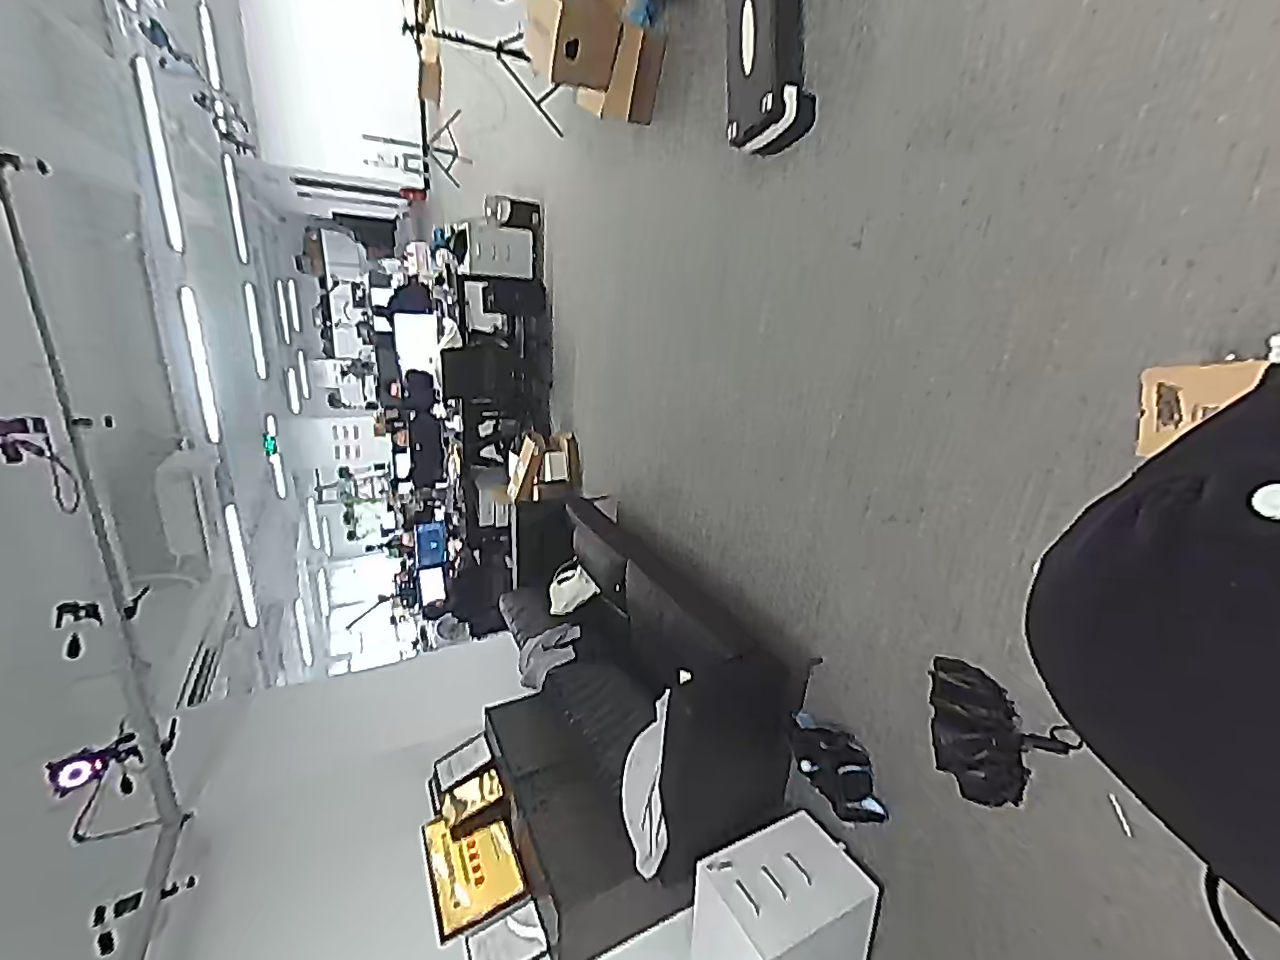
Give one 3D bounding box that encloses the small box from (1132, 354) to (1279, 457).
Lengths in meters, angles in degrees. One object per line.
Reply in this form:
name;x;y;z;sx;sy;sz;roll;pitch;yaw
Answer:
small box;1.036;-0.133;0.970;0.179;0.176;0.168;12;106;61
